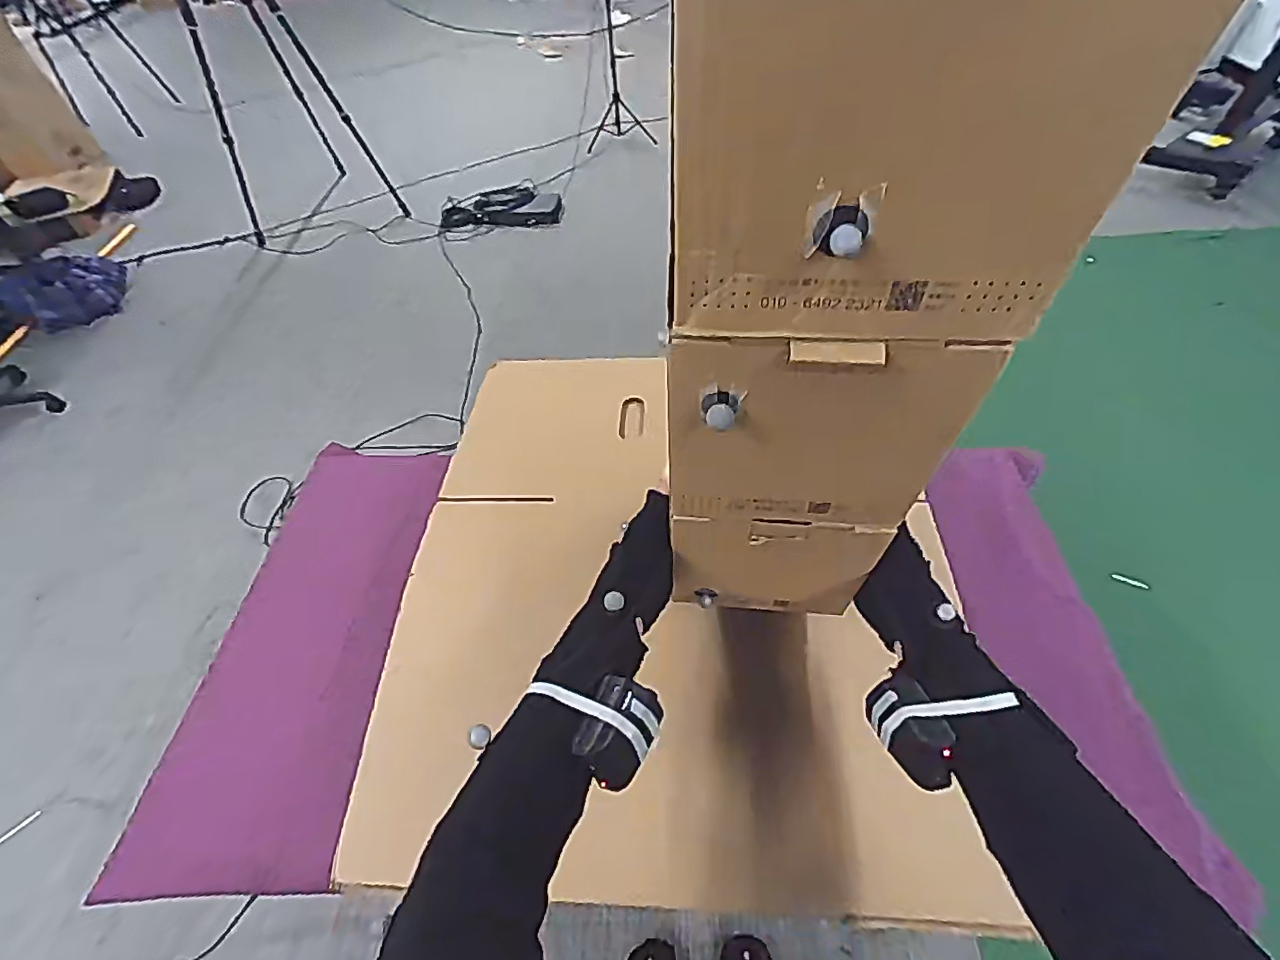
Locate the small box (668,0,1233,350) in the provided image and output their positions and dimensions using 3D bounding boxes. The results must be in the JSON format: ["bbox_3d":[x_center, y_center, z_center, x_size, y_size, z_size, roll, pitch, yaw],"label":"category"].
[{"bbox_3d":[0.099,-0.184,0.249,0.168,0.176,0.179,2,55,5],"label":"small box"}]

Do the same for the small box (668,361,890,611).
[{"bbox_3d":[0.118,0.010,0.512,0.168,0.176,0.179,3,55,6],"label":"small box"}]
